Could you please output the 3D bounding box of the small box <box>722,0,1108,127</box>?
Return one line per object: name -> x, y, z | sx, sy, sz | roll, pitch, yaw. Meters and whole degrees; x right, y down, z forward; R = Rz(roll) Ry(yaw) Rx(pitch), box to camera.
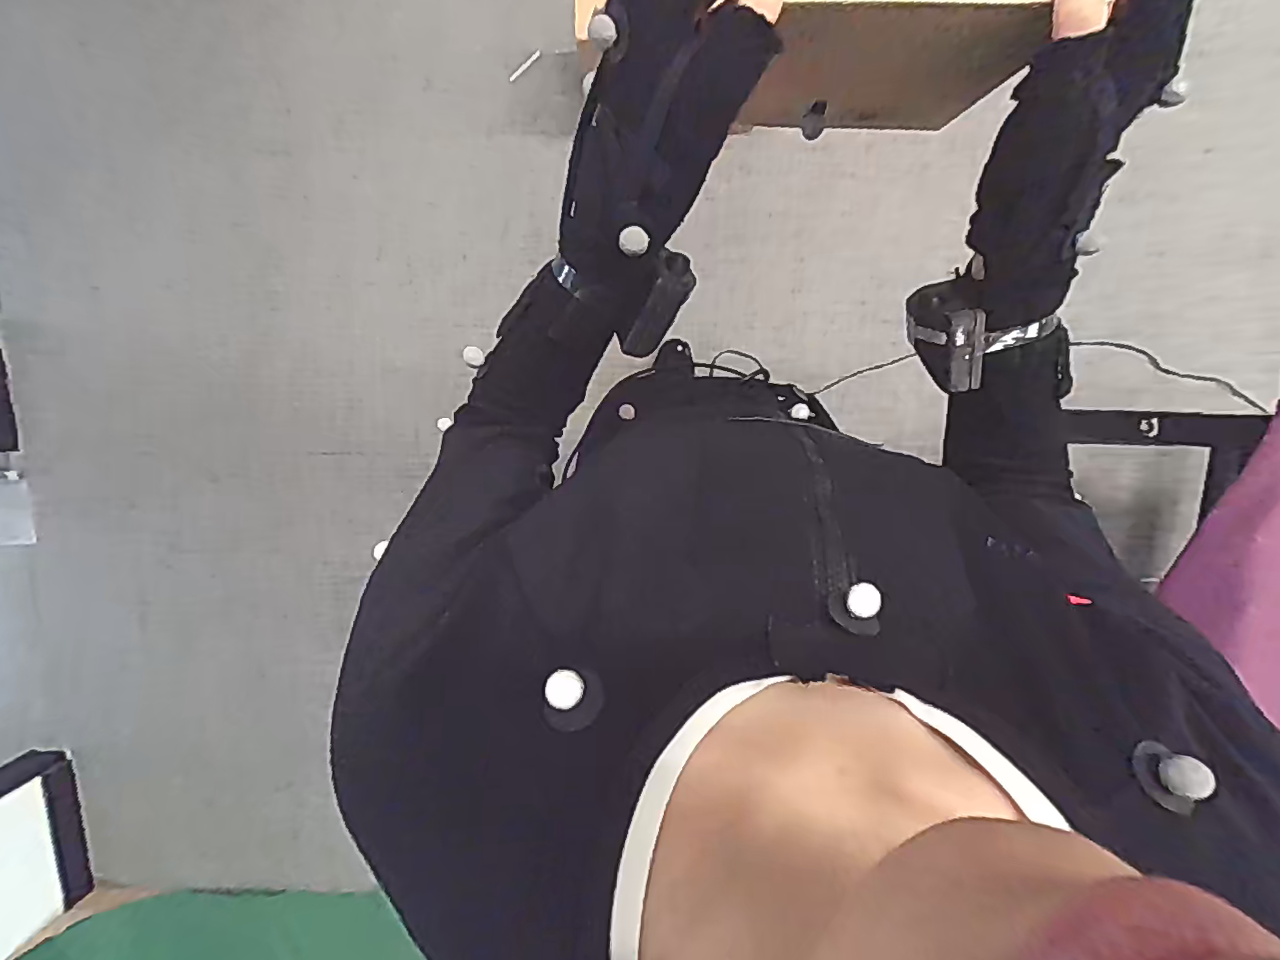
small box -> 0.136, -0.320, 0.291 | 0.168, 0.176, 0.179 | 3, 107, 4
